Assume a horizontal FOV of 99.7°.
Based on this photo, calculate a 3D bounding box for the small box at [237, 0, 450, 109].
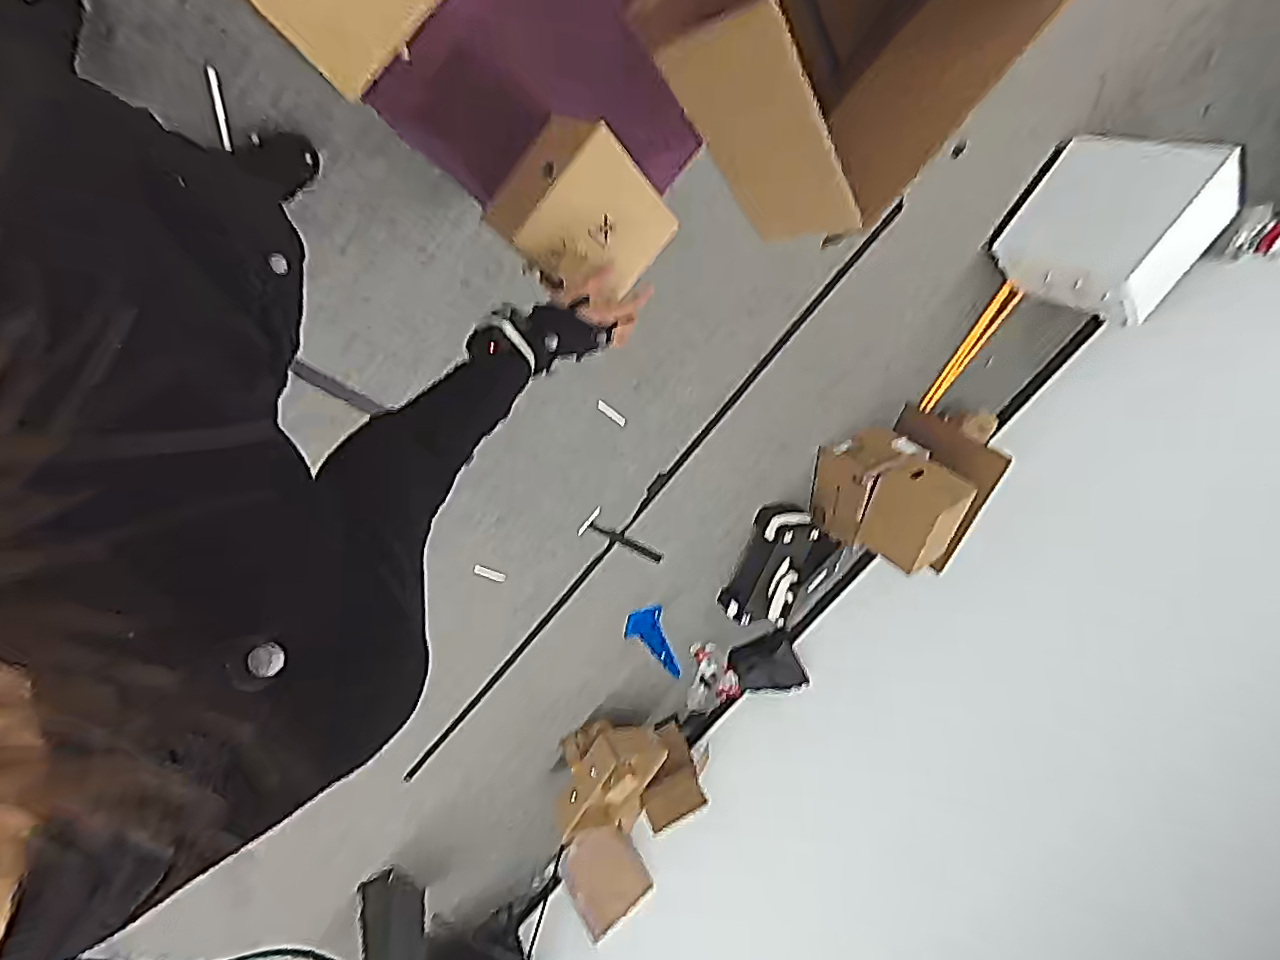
[{"bbox_3d":[-0.298,-0.498,0.514,0.179,0.176,0.168,-46,134,5],"label":"small box"}]

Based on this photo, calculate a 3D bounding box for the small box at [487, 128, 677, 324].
[{"bbox_3d":[-0.088,-0.359,0.757,0.179,0.176,0.168,-49,133,8],"label":"small box"}]
